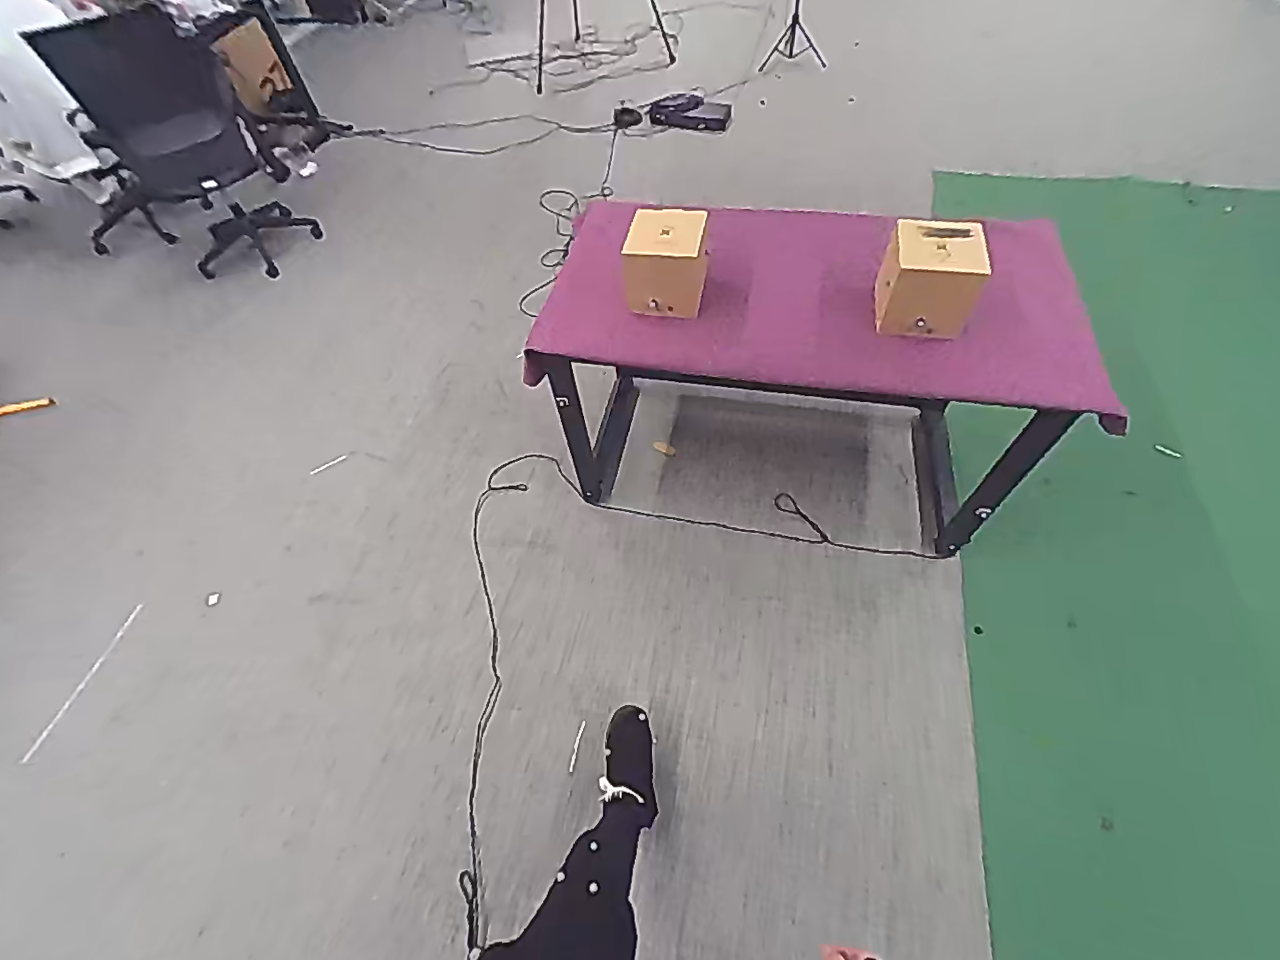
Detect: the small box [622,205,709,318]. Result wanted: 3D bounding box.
[{"bbox_3d":[0.062,-0.501,1.242,0.168,0.176,0.179,8,57,10],"label":"small box"}]
